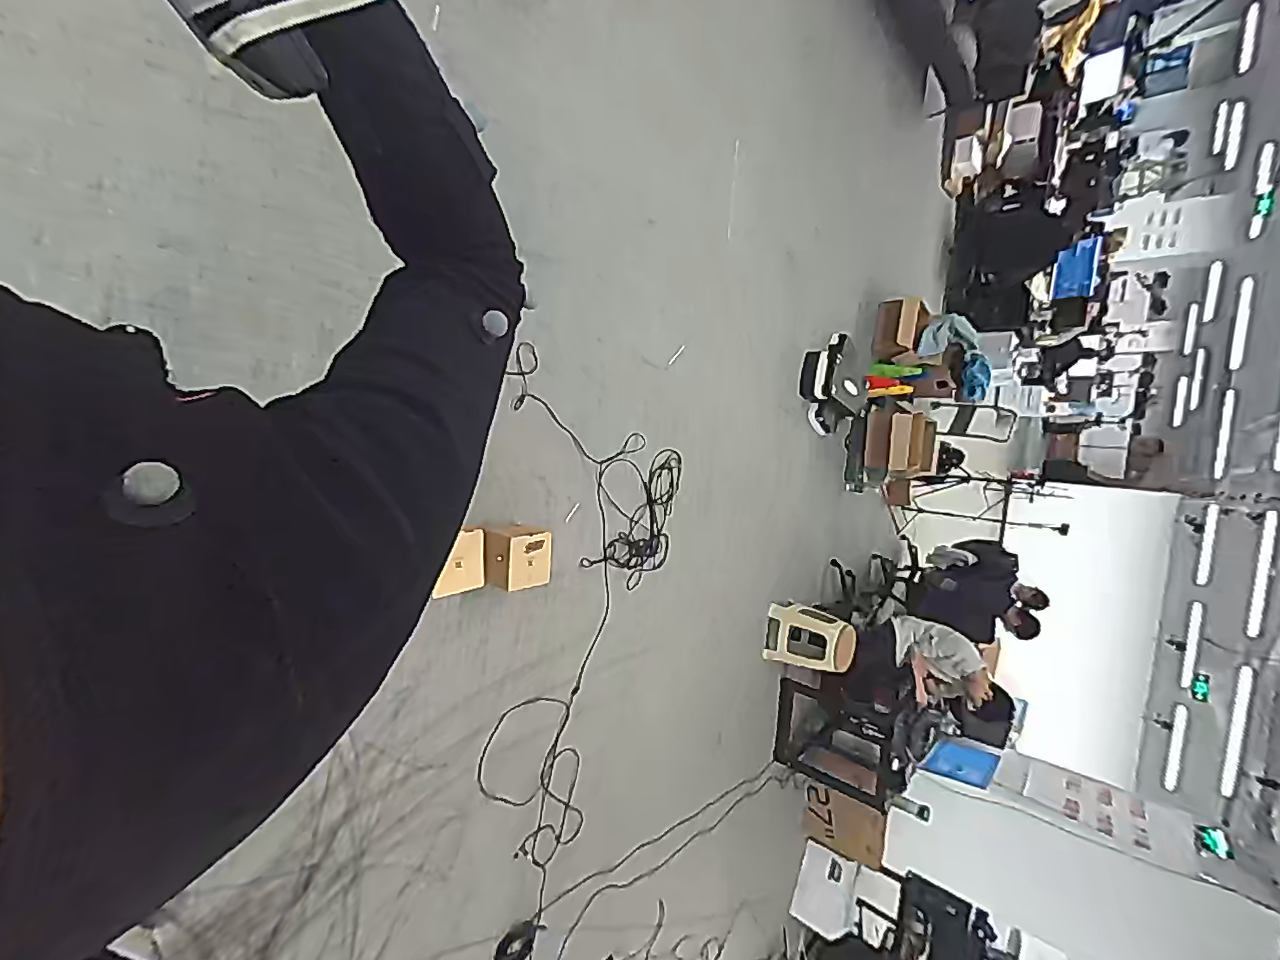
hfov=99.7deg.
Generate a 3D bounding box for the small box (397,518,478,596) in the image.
[{"bbox_3d":[-0.592,0.218,1.580,0.168,0.176,0.179,-8,101,-50],"label":"small box"}]

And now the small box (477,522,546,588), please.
[{"bbox_3d":[-0.430,0.238,1.776,0.168,0.176,0.179,-3,100,-50],"label":"small box"}]
